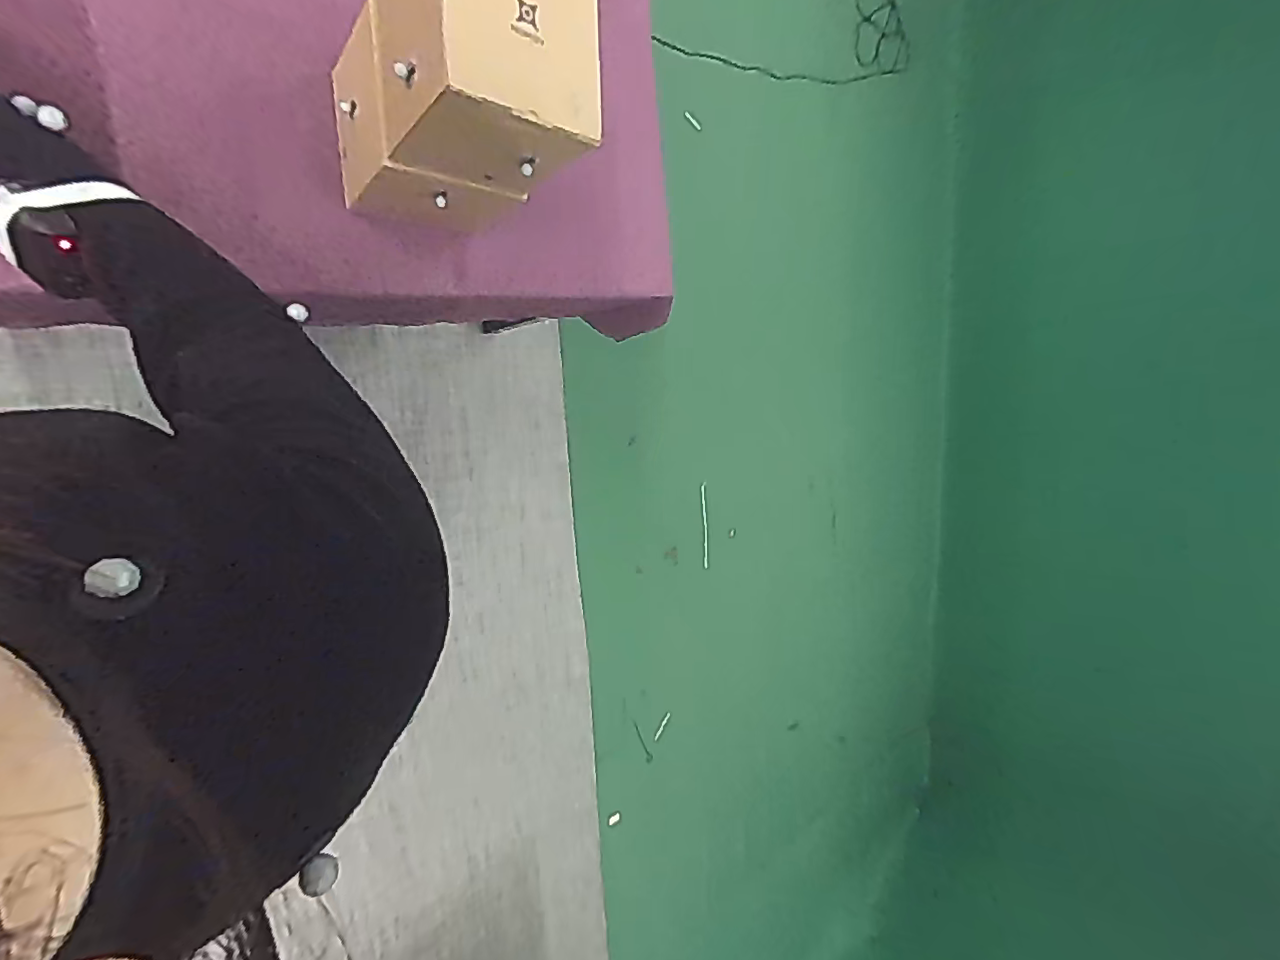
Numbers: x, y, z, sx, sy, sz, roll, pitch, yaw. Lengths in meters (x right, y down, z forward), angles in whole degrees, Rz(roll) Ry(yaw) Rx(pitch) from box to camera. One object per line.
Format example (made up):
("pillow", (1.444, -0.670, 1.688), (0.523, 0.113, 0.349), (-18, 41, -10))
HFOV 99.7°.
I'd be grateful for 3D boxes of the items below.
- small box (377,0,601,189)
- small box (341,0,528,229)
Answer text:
("small box", (-0.155, -0.427, 0.551), (0.168, 0.176, 0.179), (-7, 99, -40))
("small box", (-0.260, -0.432, 0.676), (0.179, 0.176, 0.168), (-8, 100, -40))
